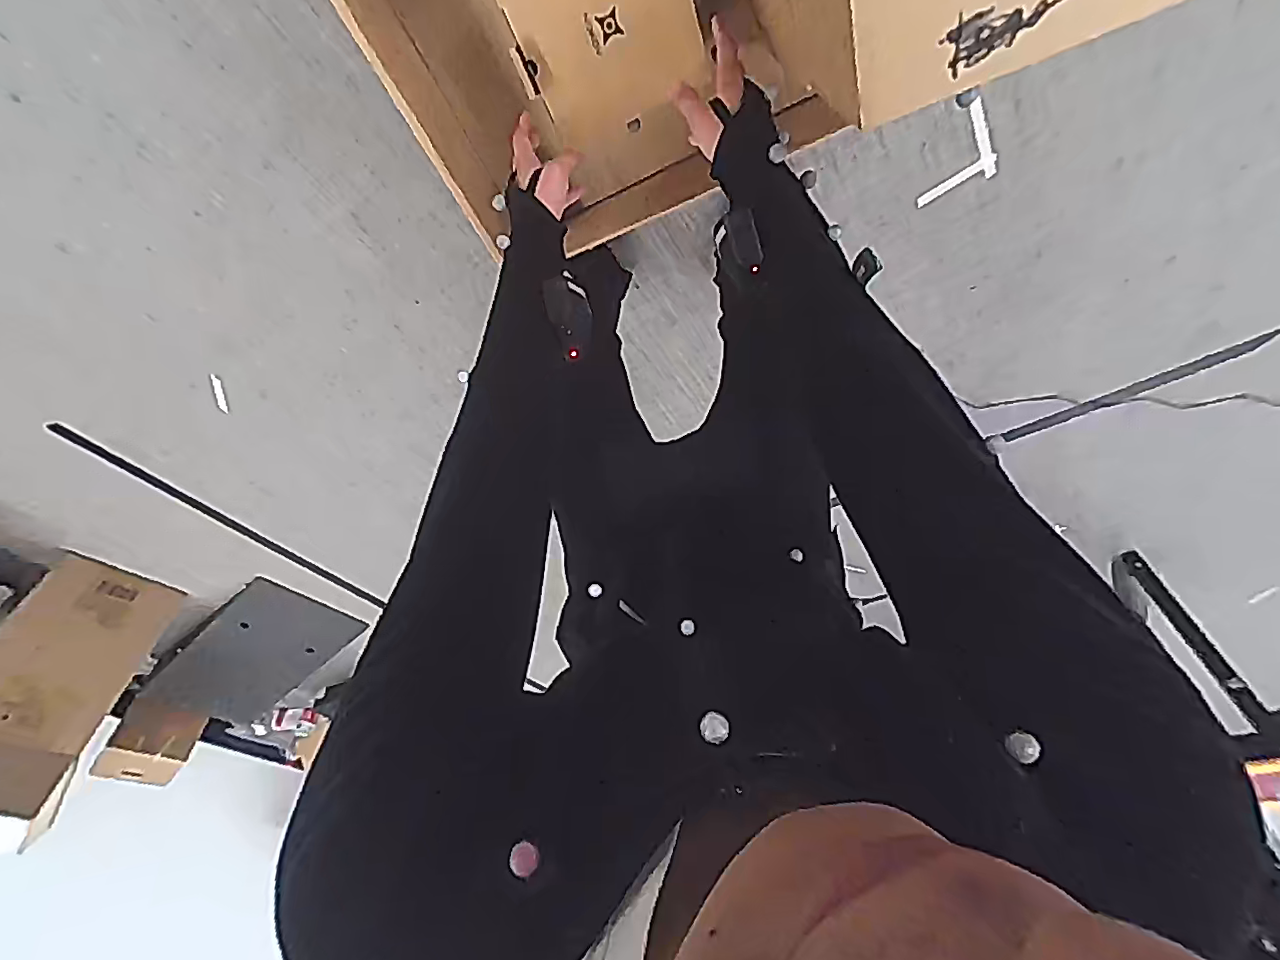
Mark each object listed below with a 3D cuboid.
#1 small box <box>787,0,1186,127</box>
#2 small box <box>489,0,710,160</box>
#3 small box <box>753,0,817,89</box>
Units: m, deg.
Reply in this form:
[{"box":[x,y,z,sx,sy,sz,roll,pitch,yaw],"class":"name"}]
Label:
[{"box":[0.165,-0.326,0.282,0.168,0.176,0.179,-15,131,16],"class":"small box"},{"box":[-0.040,-0.488,0.582,0.179,0.176,0.168,-18,131,15],"class":"small box"},{"box":[0.166,-0.437,0.403,0.179,0.176,0.168,-20,131,19],"class":"small box"}]
